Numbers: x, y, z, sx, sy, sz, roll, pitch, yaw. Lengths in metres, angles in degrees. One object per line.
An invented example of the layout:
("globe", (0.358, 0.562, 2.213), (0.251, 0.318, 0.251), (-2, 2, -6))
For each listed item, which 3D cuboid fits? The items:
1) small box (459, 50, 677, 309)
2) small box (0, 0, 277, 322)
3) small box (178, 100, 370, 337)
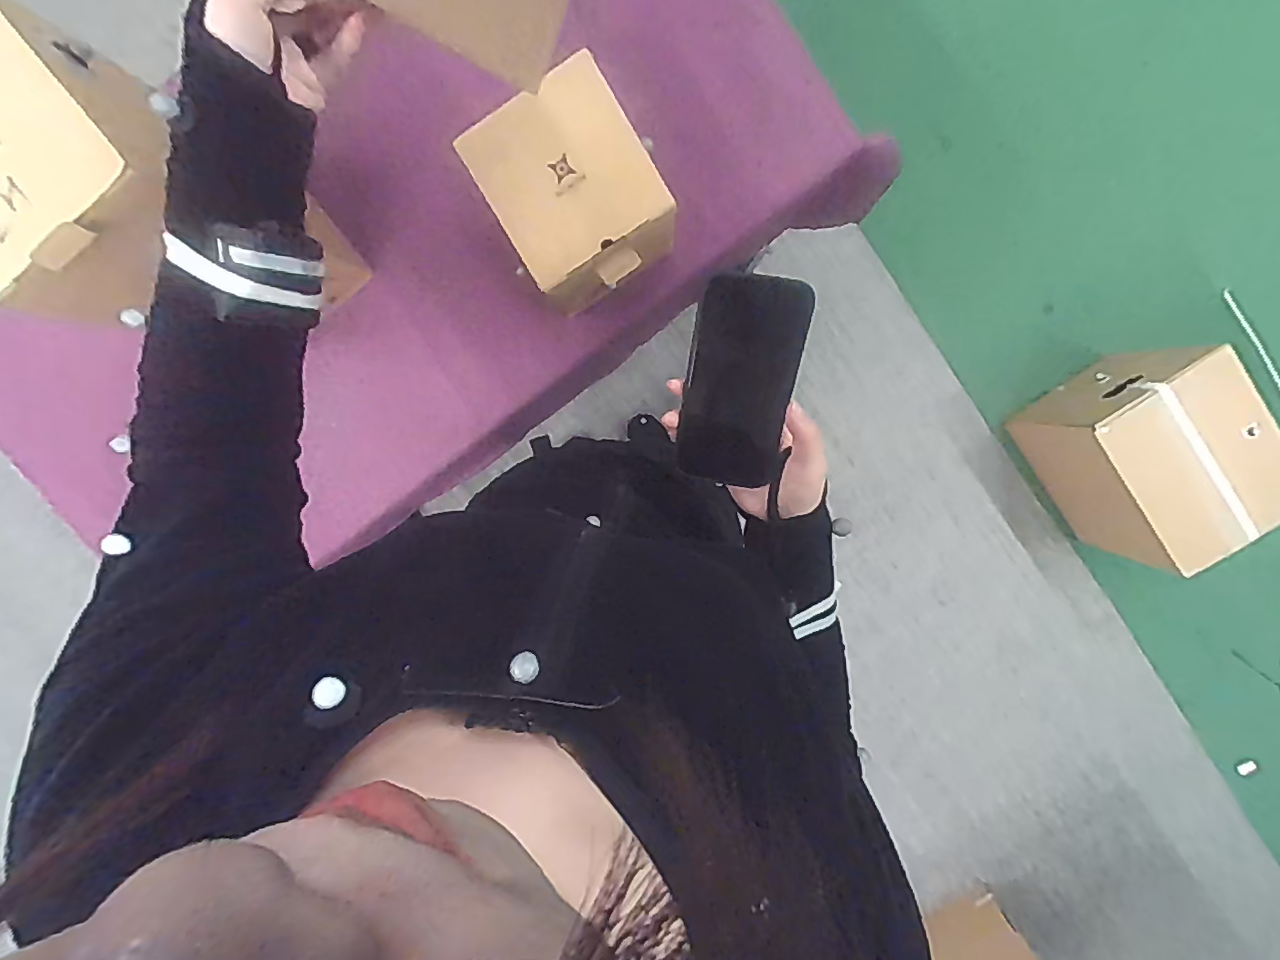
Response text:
("small box", (-0.072, -0.325, 0.630), (0.168, 0.176, 0.179), (-31, 97, 6))
("small box", (-0.492, -0.267, 0.488), (0.168, 0.176, 0.179), (-37, 96, 7))
("small box", (-0.472, -0.289, 0.651), (0.168, 0.176, 0.179), (-36, 95, 6))
